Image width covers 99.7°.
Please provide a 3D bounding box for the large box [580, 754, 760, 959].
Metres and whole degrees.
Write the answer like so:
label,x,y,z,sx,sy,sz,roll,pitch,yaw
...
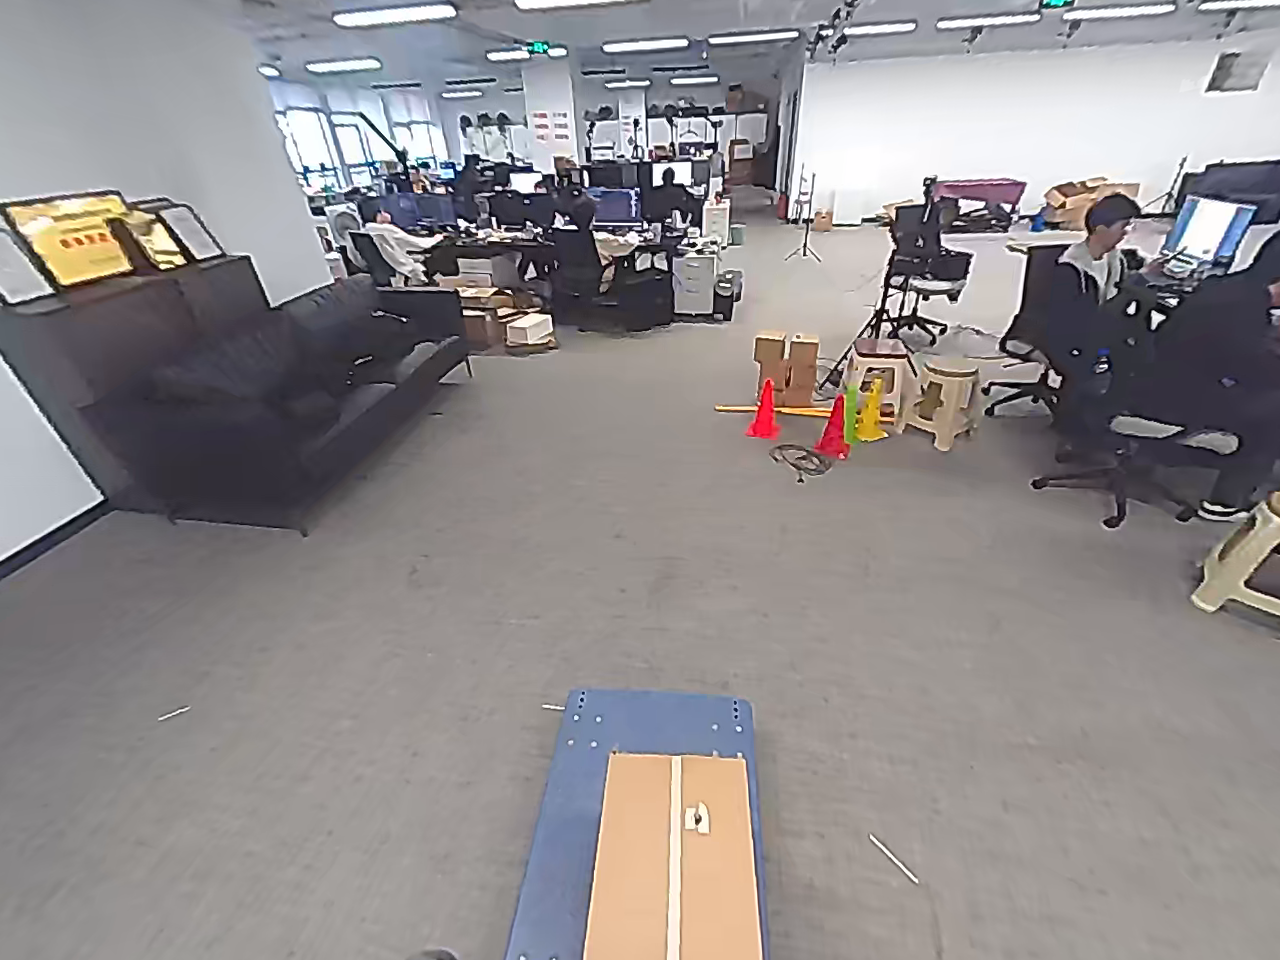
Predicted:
label,x,y,z,sx,sy,sz,roll,pitch,yaw
large box,0.068,0.863,1.145,0.320,0.320,0.408,1,33,5
